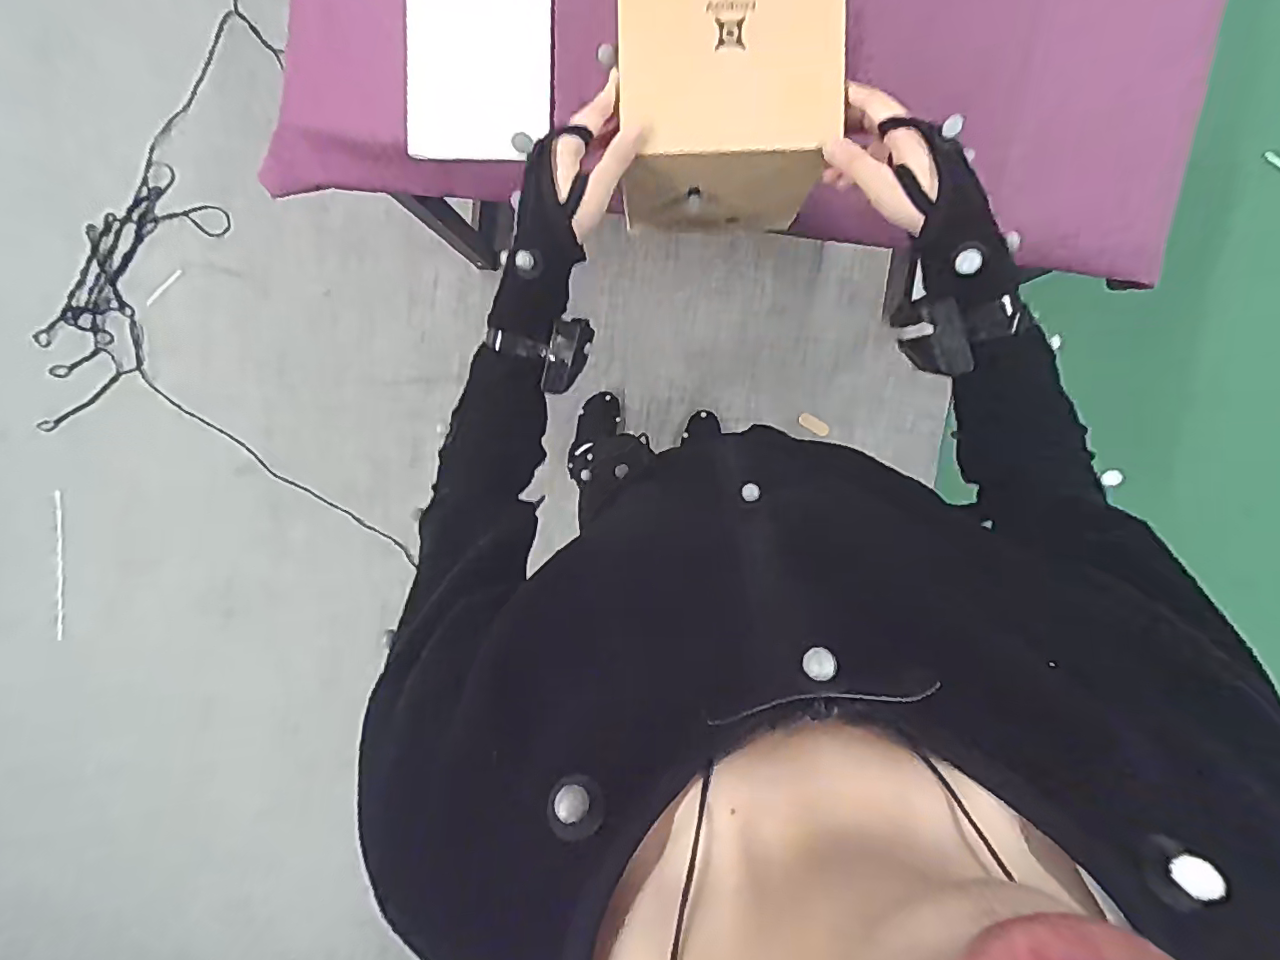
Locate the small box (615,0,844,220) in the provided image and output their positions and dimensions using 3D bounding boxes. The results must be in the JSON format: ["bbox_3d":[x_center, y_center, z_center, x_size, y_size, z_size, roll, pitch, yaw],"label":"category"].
[{"bbox_3d":[0.067,-0.341,0.468,0.168,0.176,0.179,-1,95,1],"label":"small box"}]
